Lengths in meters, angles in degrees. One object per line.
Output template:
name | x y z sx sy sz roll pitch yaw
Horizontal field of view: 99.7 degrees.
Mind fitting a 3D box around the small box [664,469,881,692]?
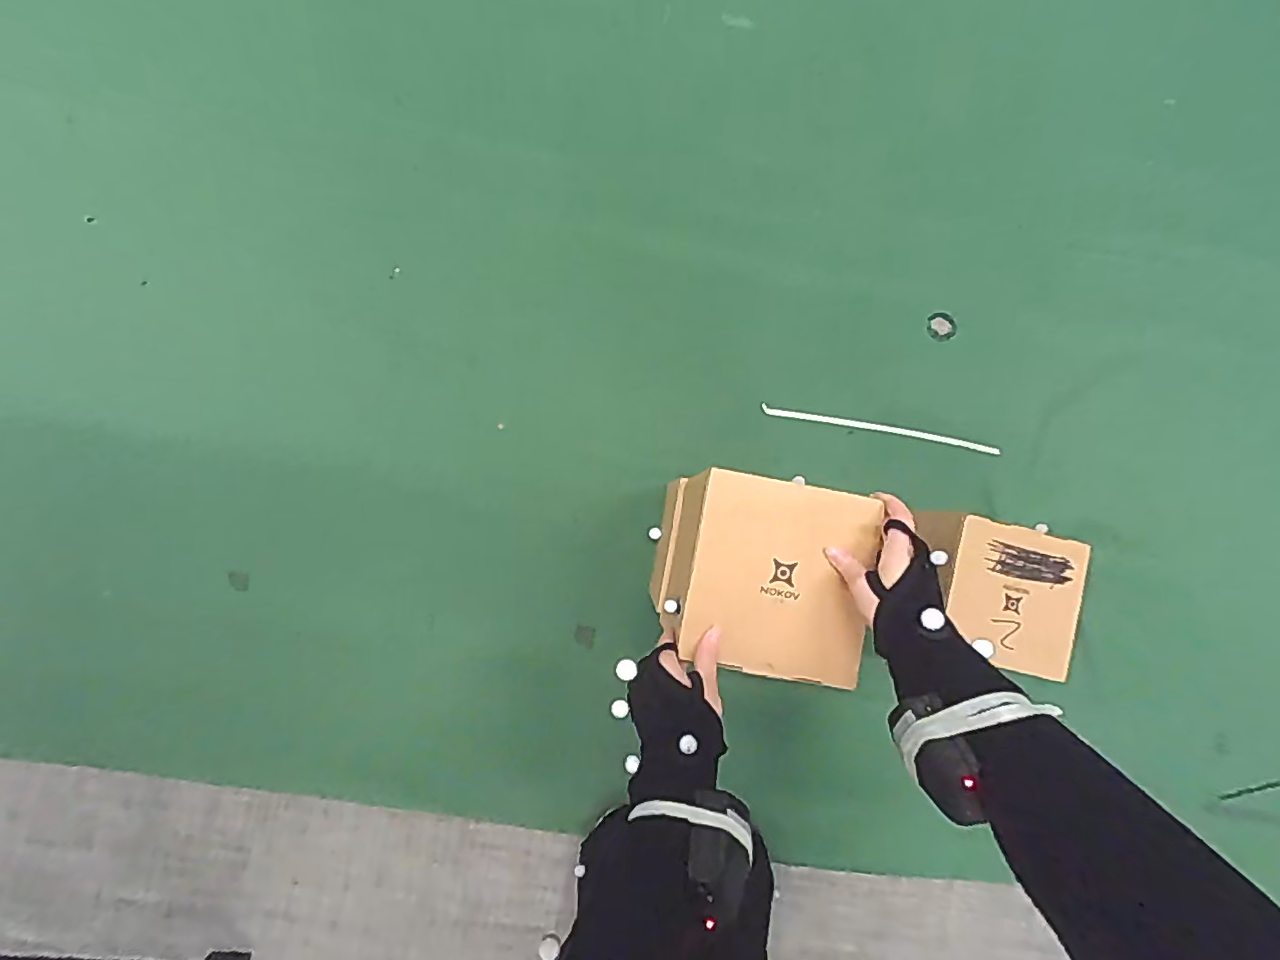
small box | 0.122 0.094 0.564 0.168 0.176 0.179 11 87 -2

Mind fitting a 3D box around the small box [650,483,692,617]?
small box | 0.115 0.101 0.726 0.179 0.176 0.168 10 86 -1
